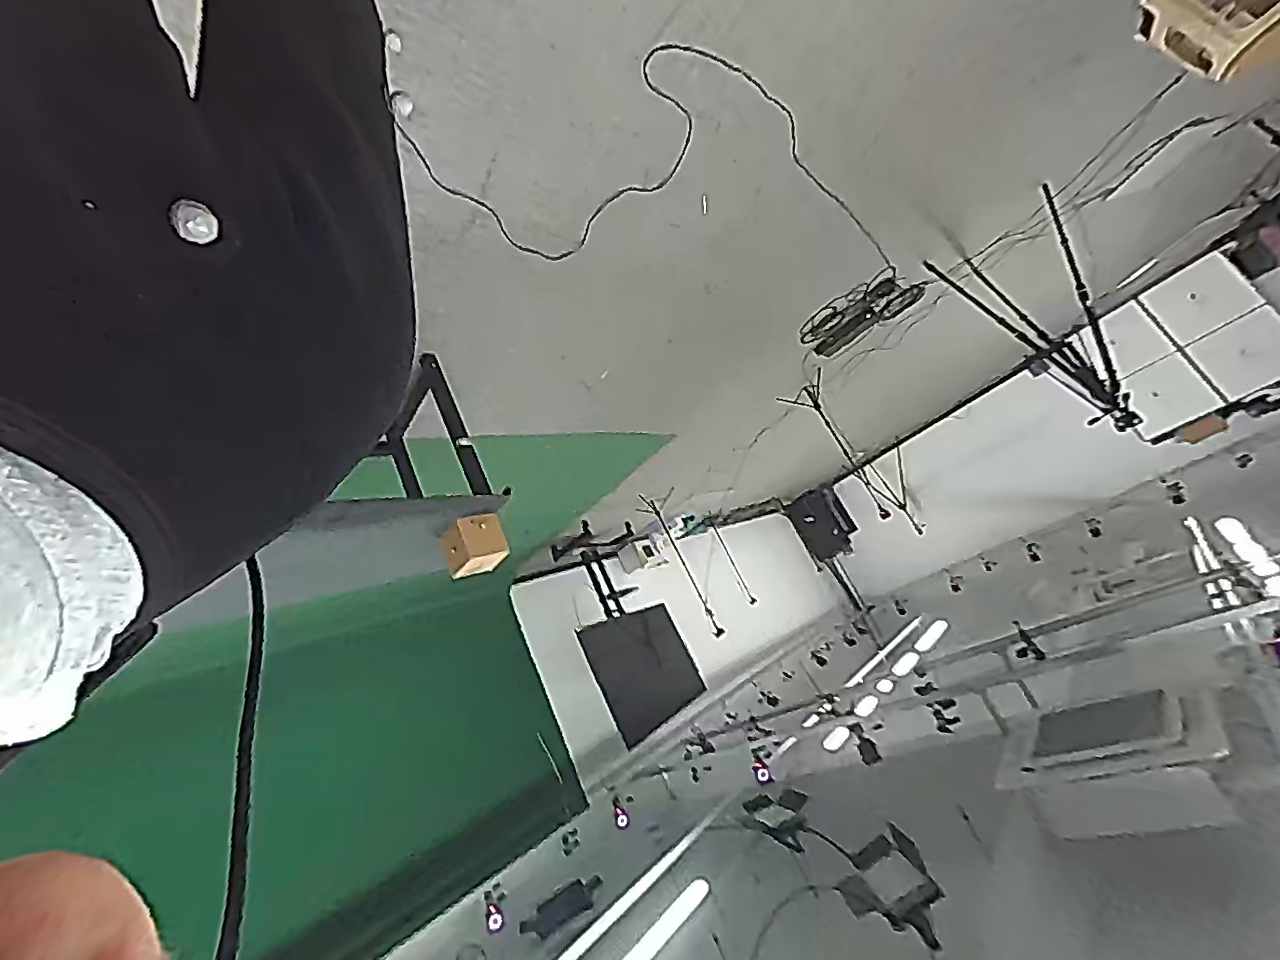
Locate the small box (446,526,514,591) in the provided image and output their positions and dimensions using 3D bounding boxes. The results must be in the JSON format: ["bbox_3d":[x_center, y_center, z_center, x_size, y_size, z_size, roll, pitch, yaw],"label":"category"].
[{"bbox_3d":[-0.606,0.289,2.022,0.168,0.176,0.179,-8,154,-47],"label":"small box"}]
